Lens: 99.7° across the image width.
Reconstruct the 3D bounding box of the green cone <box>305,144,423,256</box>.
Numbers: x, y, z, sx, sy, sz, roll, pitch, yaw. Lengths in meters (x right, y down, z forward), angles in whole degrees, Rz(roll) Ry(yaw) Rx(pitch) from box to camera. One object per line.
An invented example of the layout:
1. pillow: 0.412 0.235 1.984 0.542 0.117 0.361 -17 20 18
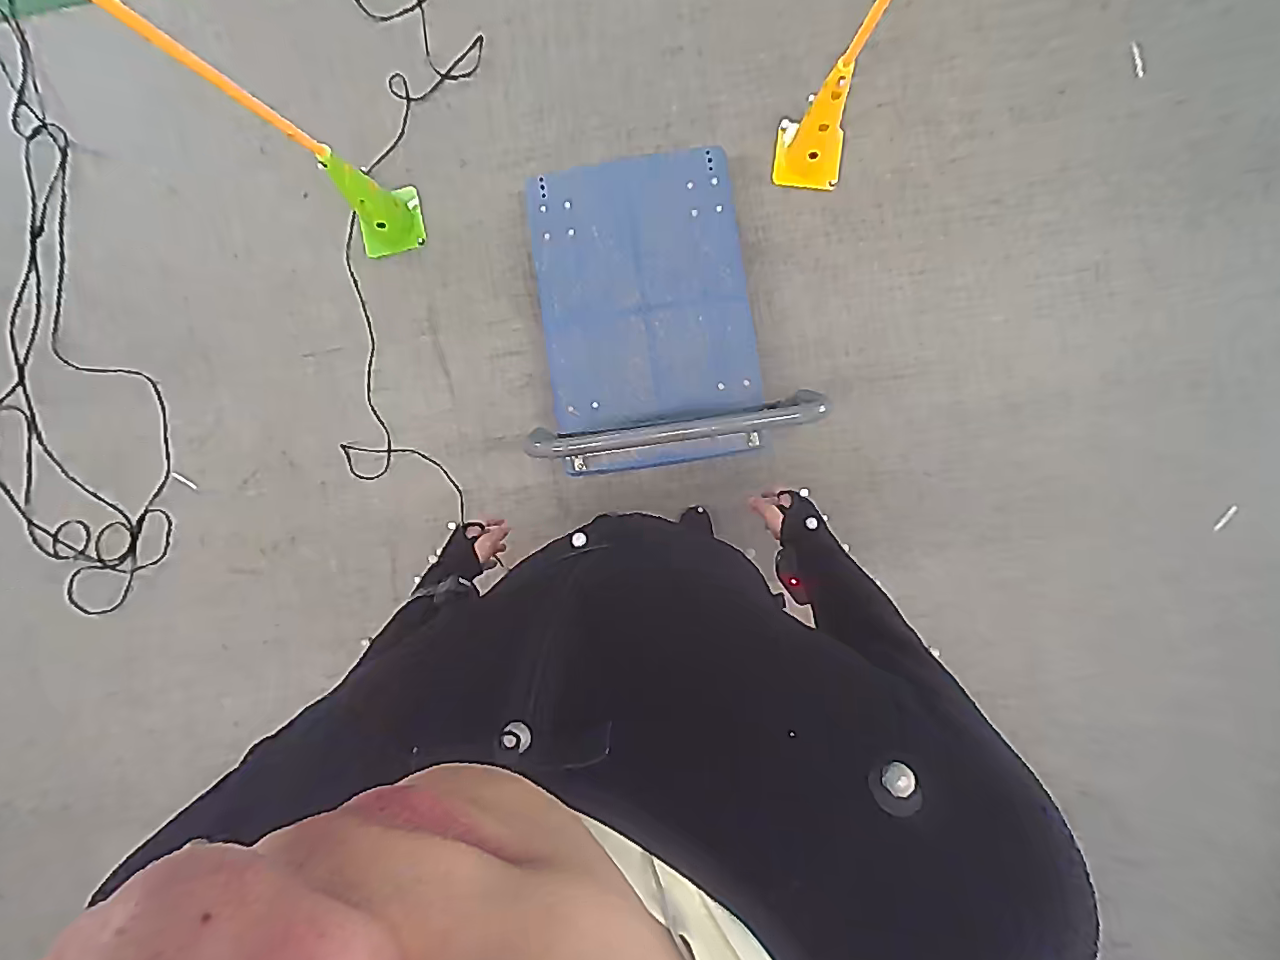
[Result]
1. green cone: -0.812 -0.832 1.546 0.202 0.368 0.200 -13 87 4
